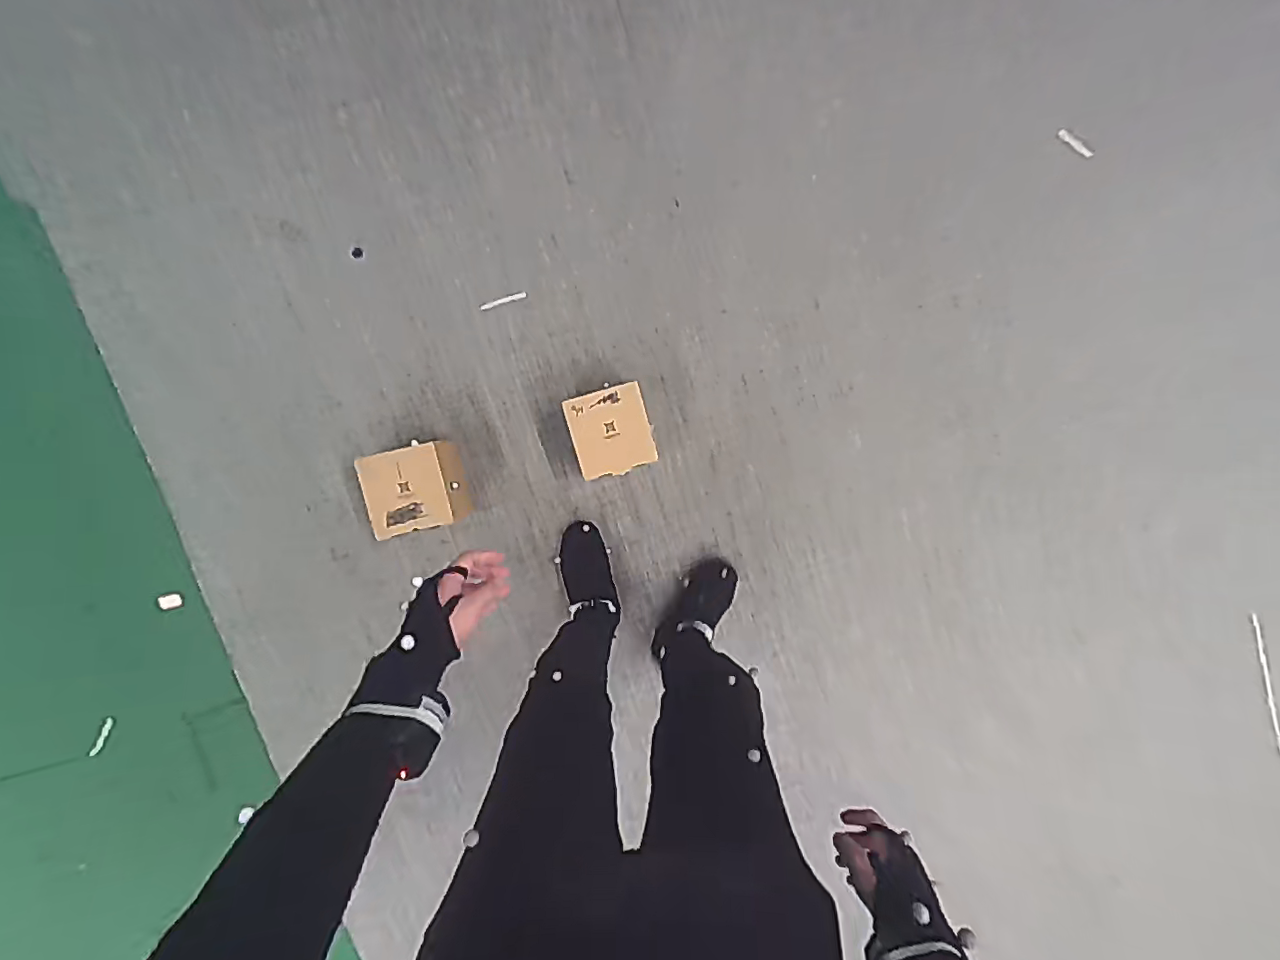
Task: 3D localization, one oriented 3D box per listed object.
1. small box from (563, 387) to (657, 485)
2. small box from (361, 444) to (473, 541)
[{"bbox_3d":[-0.066,-0.102,1.205,0.168,0.176,0.179,-15,97,-3],"label":"small box"},{"bbox_3d":[-0.485,0.020,1.204,0.168,0.176,0.179,-13,95,-4],"label":"small box"}]
